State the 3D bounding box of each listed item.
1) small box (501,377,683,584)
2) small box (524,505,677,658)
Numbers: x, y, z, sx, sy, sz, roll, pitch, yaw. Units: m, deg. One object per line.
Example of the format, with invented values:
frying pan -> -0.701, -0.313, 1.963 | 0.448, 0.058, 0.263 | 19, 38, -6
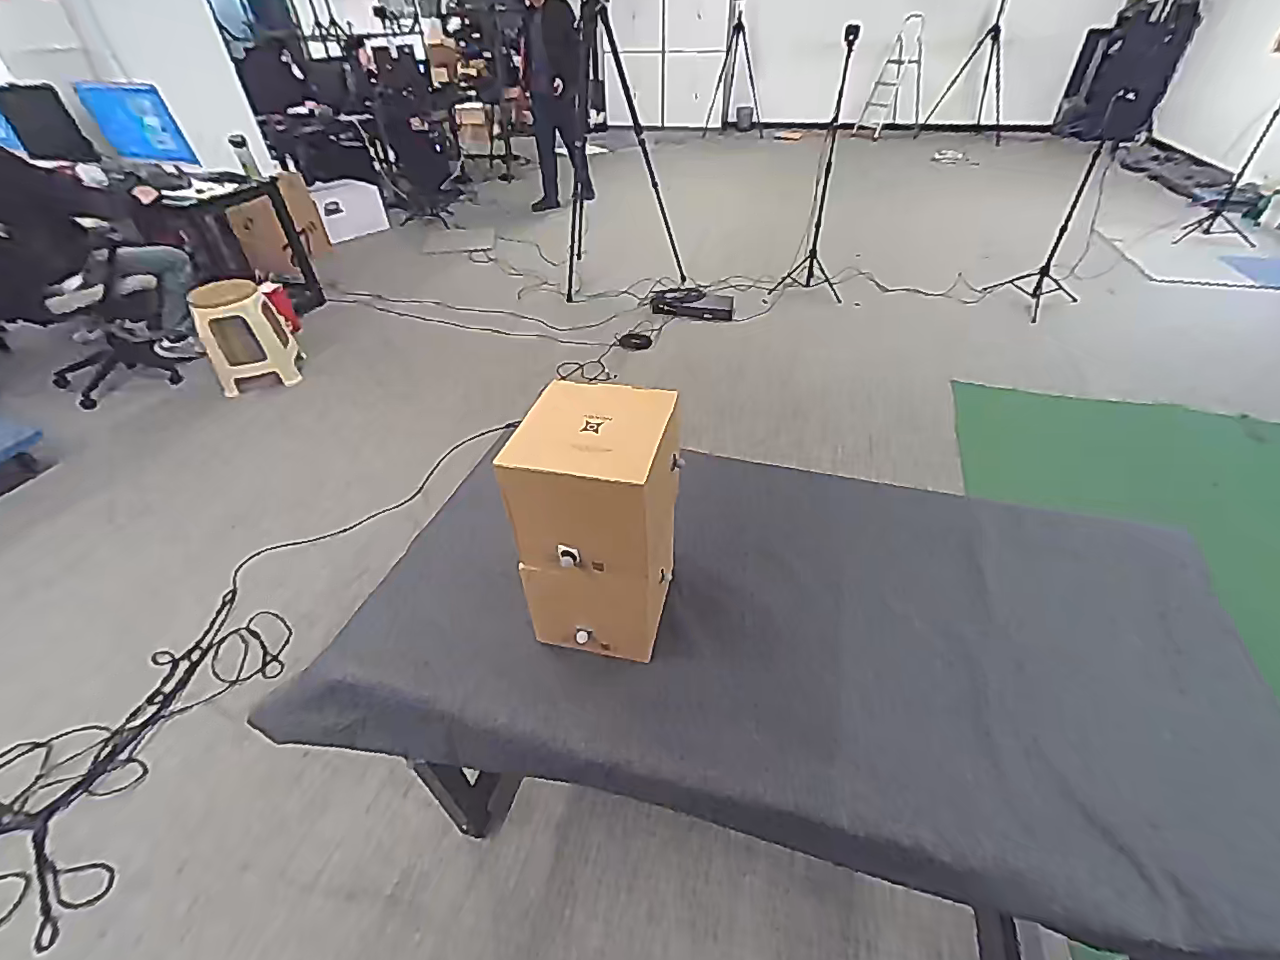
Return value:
small box -> -0.045, -0.003, 0.657 | 0.168, 0.176, 0.179 | 7, 42, 12
small box -> -0.045, 0.120, 0.763 | 0.168, 0.176, 0.179 | 7, 42, 11
